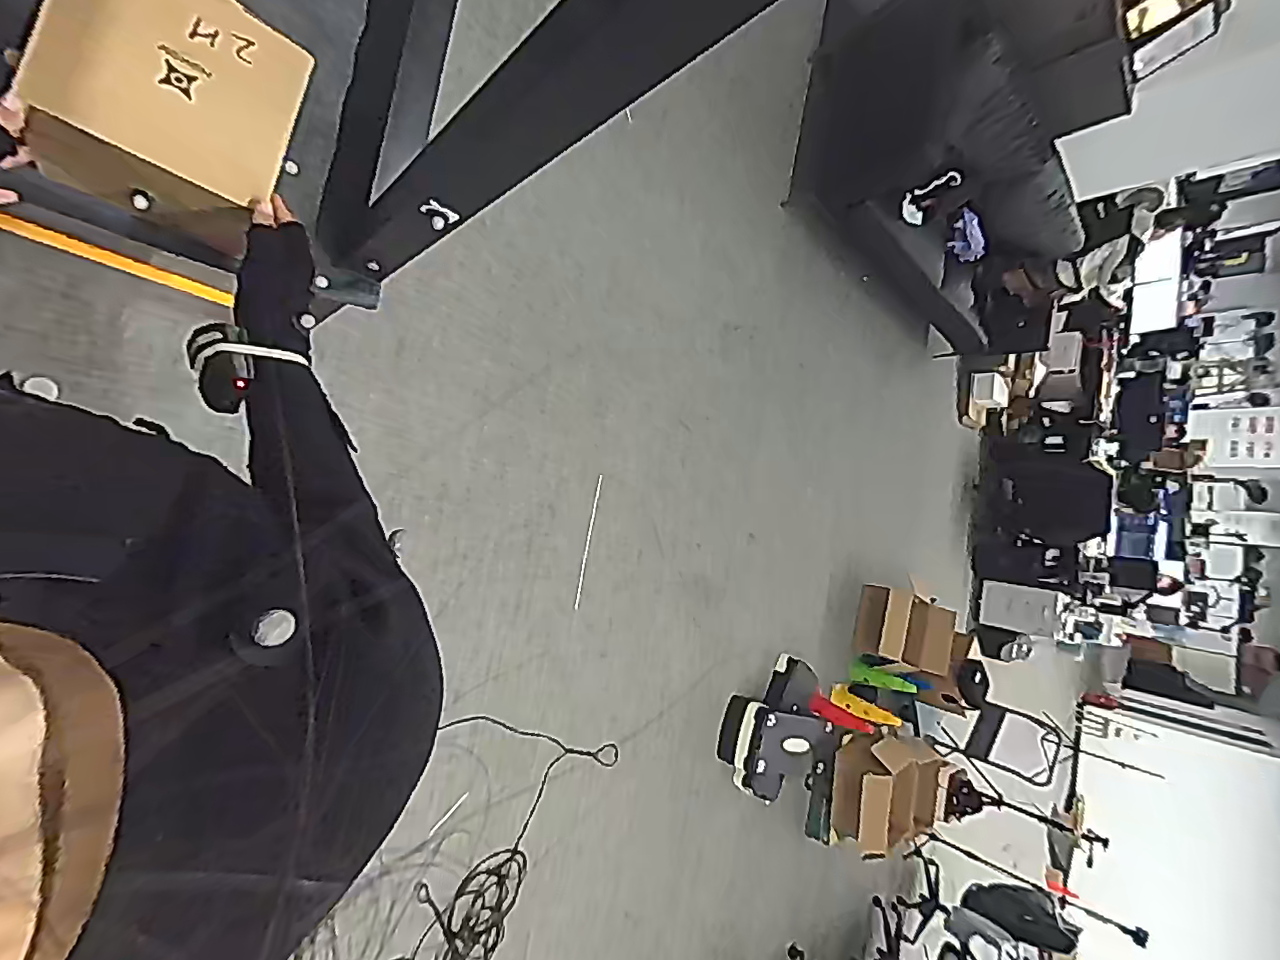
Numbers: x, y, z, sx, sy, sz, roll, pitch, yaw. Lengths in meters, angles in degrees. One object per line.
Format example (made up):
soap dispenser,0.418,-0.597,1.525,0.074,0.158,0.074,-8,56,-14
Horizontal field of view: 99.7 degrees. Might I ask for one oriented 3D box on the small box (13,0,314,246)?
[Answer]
small box,-0.449,-0.361,0.527,0.168,0.176,0.179,18,80,-43
